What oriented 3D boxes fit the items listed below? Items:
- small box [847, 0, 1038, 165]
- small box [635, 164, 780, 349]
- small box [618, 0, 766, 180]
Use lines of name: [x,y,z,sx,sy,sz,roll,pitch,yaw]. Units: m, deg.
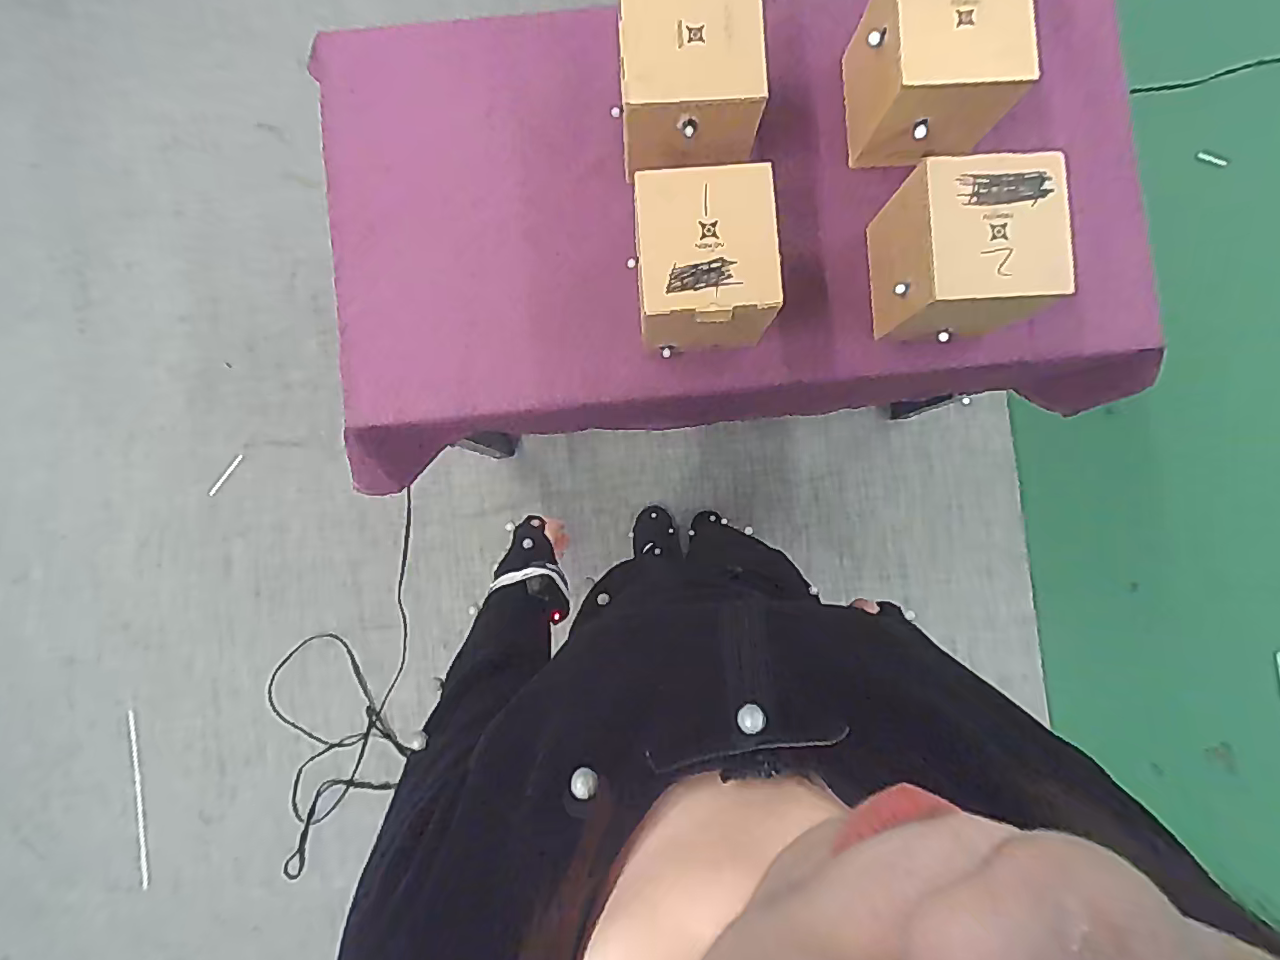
small box: [0.391,-0.552,0.728,0.168,0.176,0.179,-2,86,1]
small box: [0.081,-0.280,0.716,0.168,0.176,0.179,-4,86,0]
small box: [0.064,-0.528,0.731,0.179,0.176,0.168,-2,88,0]
